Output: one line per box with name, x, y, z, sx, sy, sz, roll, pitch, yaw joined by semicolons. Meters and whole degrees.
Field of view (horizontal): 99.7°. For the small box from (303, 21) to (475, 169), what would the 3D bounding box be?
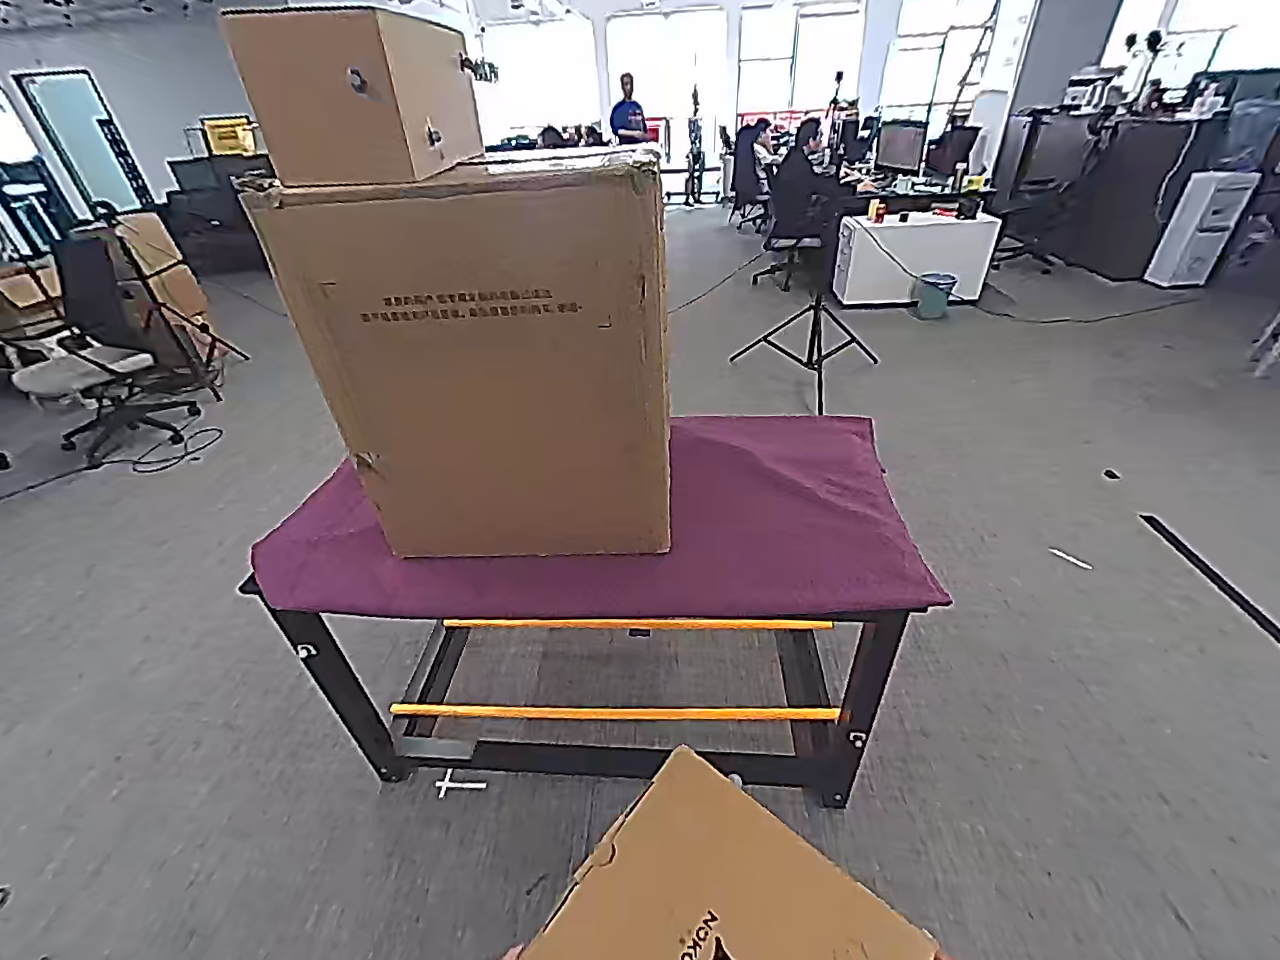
small box;-0.365;-0.582;0.830;0.168;0.176;0.179;-1;35;3
